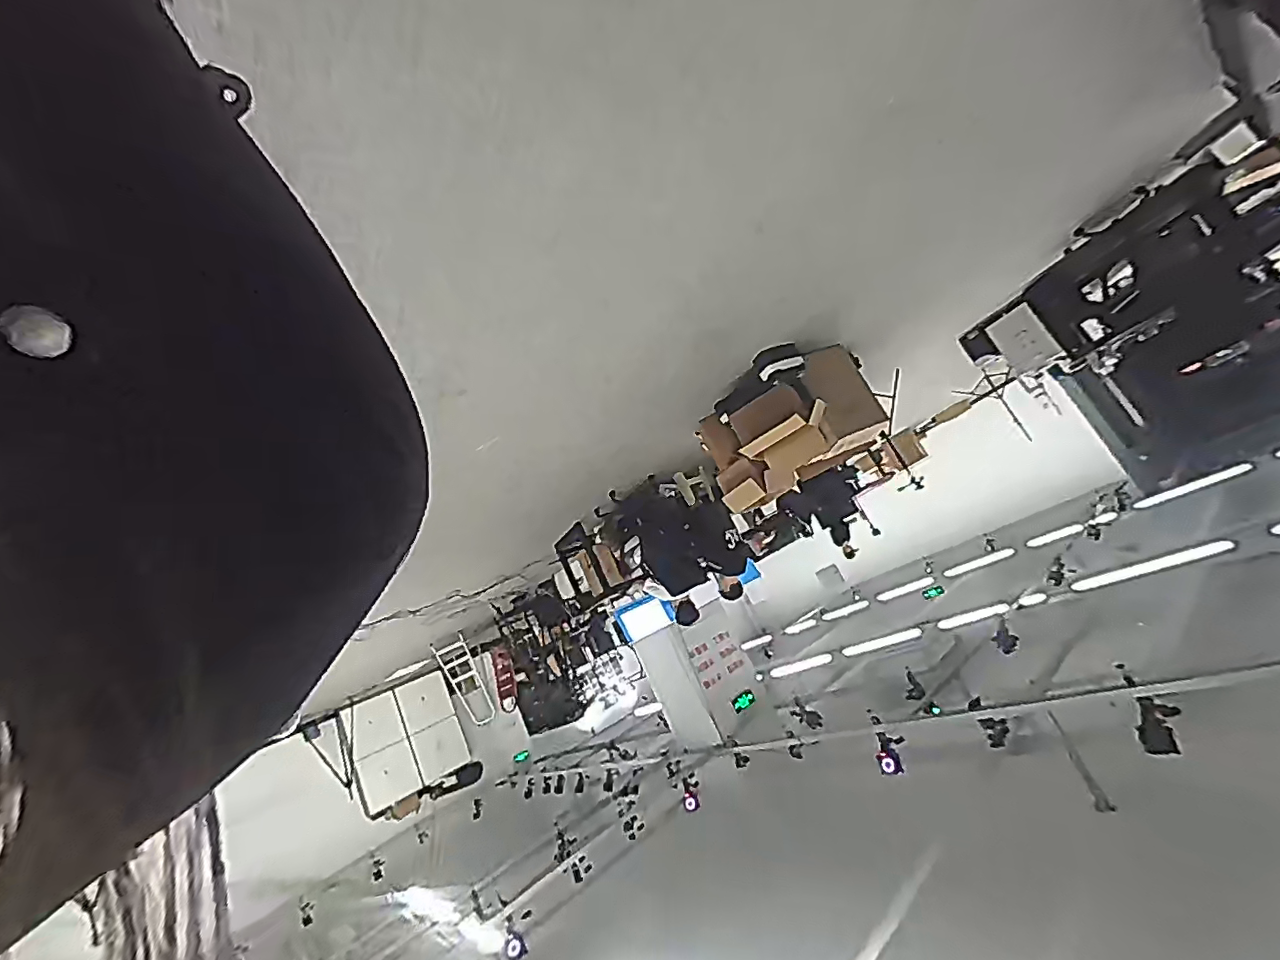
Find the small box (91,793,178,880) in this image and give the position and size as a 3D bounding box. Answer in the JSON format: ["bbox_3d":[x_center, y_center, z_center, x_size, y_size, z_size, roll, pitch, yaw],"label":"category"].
[{"bbox_3d":[-1.625,1.143,1.740,0.179,0.176,0.168,-16,162,-40],"label":"small box"}]
